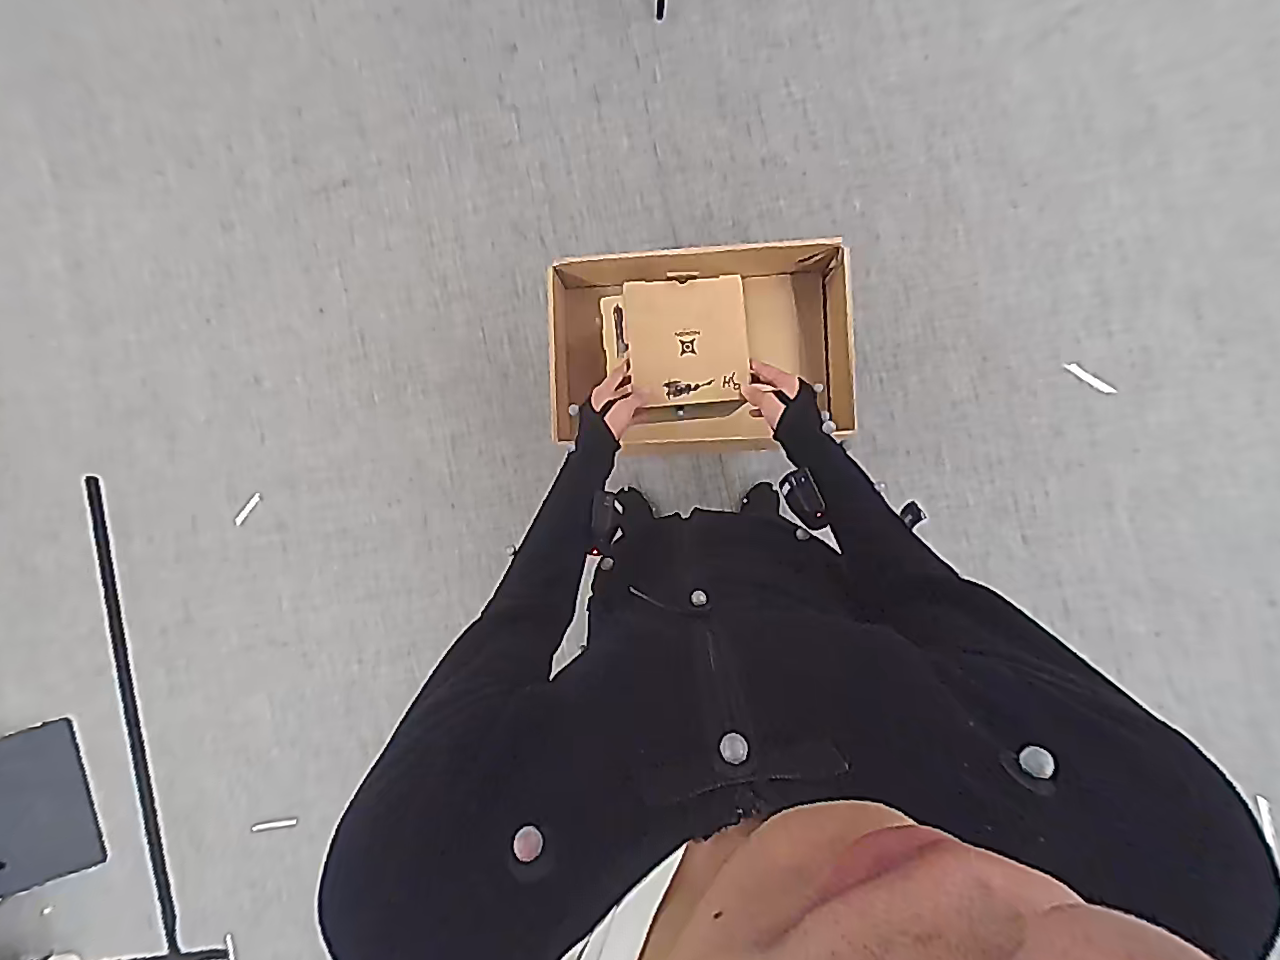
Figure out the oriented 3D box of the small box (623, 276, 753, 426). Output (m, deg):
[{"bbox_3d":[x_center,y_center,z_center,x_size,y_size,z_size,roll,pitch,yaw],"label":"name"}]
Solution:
[{"bbox_3d":[0.063,-0.184,0.813,0.168,0.176,0.179,-5,88,-2],"label":"small box"}]
